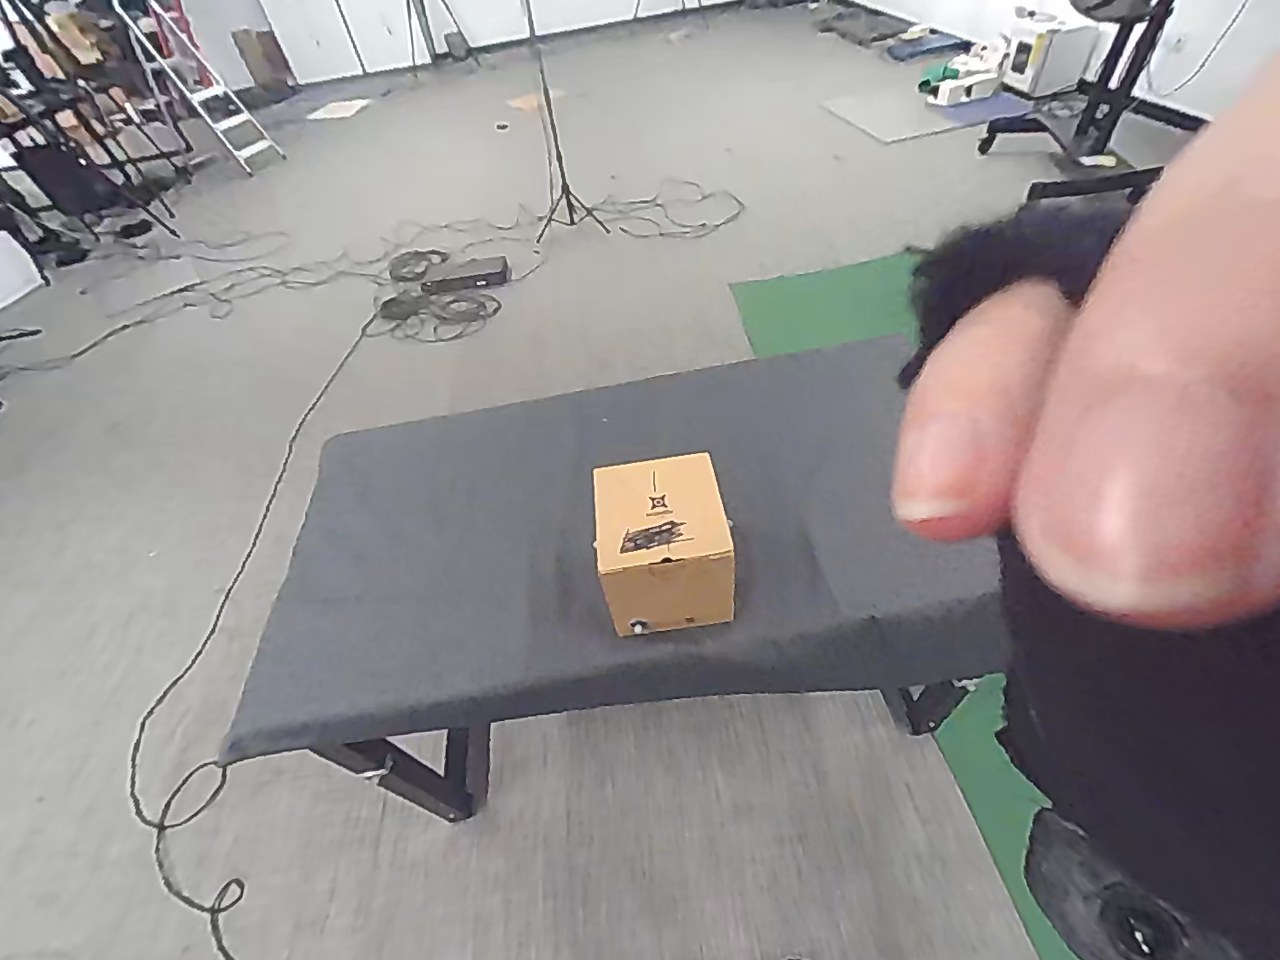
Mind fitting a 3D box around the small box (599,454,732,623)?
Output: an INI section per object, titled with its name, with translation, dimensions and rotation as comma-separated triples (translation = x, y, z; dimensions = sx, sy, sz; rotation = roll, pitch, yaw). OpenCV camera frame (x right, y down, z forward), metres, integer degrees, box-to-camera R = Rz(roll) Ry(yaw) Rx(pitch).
[small box]
translation = 0.036, 0.089, 0.768
dimensions = 0.168, 0.176, 0.179
rotation = -7, 47, 1
